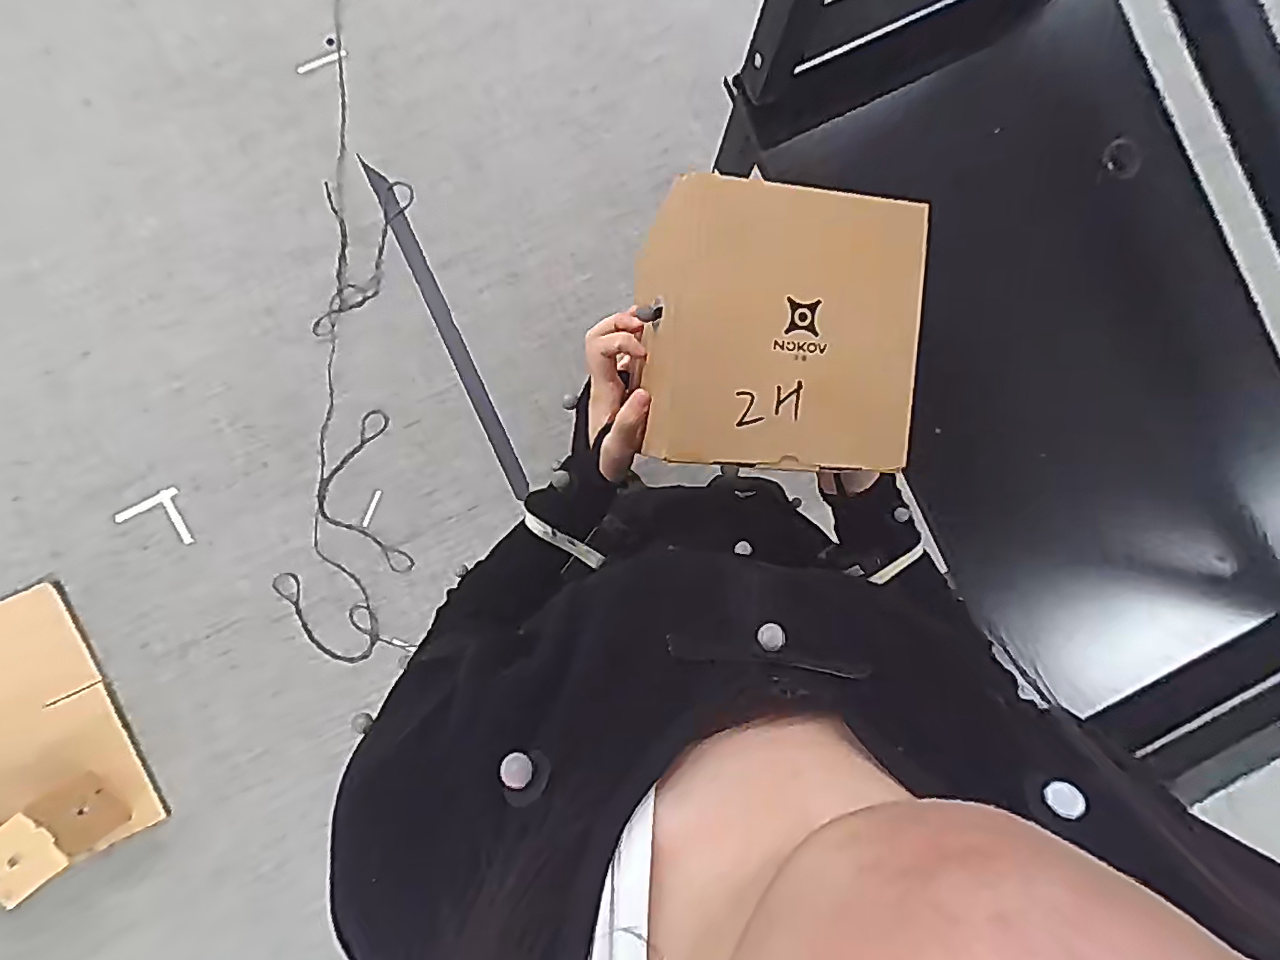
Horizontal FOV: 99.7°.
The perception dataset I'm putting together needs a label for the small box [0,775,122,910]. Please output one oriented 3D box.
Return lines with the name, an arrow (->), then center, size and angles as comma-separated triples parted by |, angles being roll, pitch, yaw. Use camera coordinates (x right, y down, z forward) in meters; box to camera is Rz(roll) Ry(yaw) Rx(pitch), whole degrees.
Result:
small box -> -1.433, 0.870, 1.318 | 0.179, 0.176, 0.168 | -39, 92, -3
